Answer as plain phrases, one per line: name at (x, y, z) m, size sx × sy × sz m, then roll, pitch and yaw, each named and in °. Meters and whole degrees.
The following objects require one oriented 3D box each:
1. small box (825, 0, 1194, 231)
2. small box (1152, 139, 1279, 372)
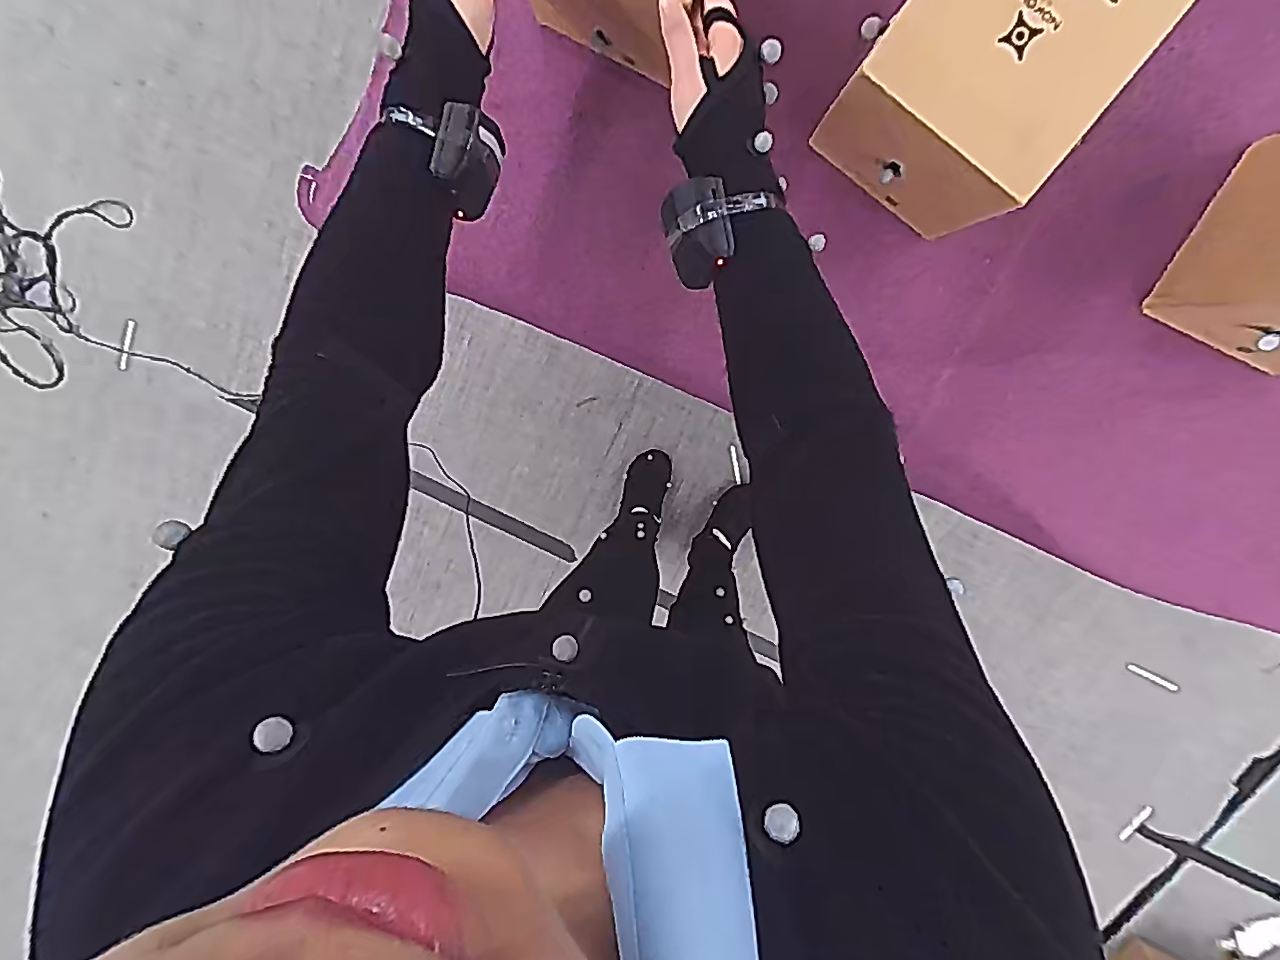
small box at (0.285, -0.348, 0.470) m, size 0.168 × 0.176 × 0.179 m, roll 35°, pitch 104°, yaw -6°
small box at (0.634, -0.203, 0.486) m, size 0.168 × 0.176 × 0.179 m, roll 25°, pitch 104°, yaw -2°
